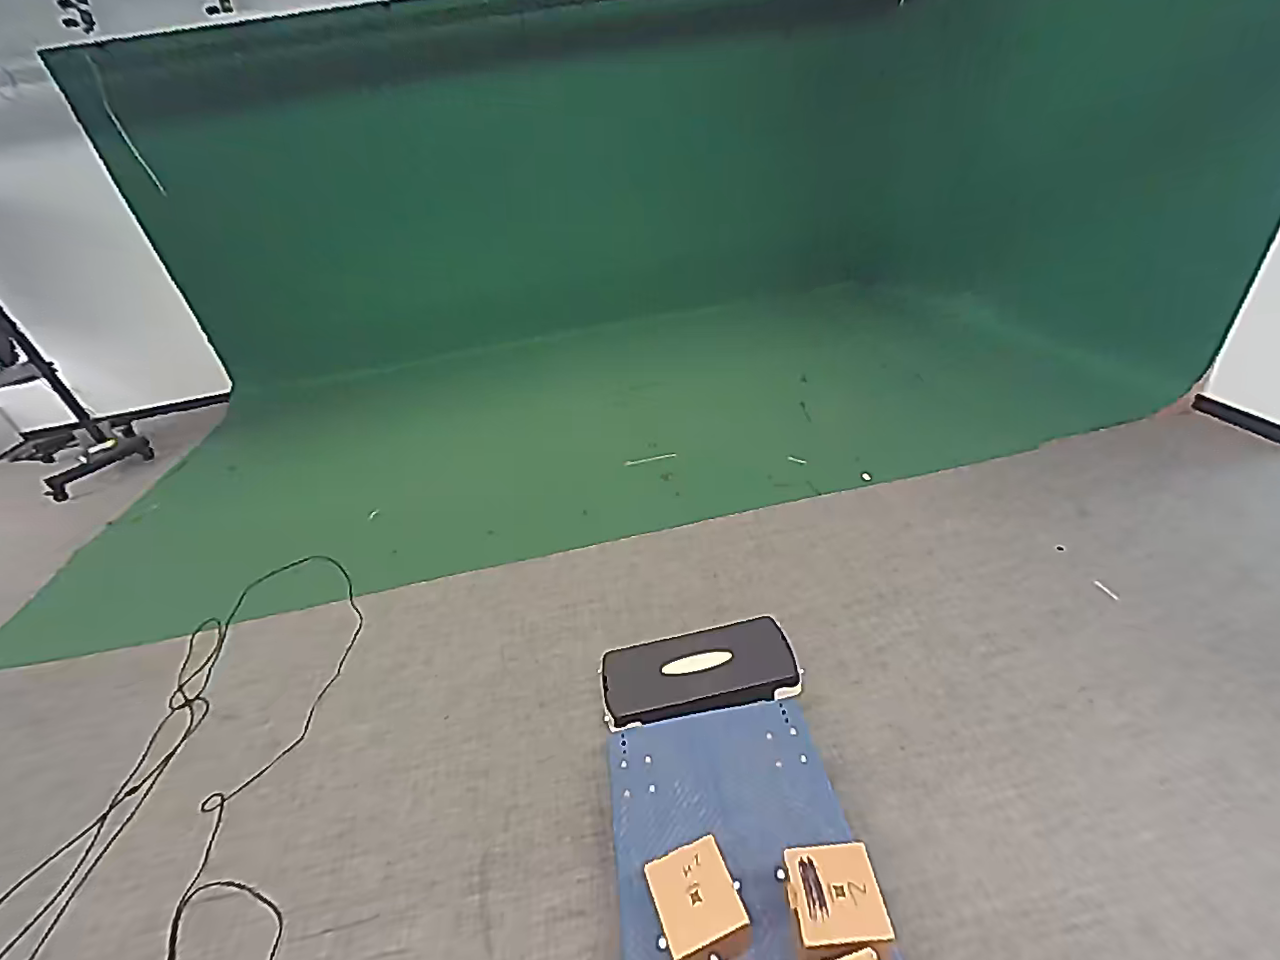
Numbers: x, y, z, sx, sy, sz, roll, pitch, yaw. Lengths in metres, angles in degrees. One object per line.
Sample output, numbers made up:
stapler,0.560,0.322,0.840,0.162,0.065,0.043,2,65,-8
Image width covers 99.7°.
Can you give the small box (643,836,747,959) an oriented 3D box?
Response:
small box,0.118,0.919,1.159,0.168,0.176,0.179,-16,35,-13
